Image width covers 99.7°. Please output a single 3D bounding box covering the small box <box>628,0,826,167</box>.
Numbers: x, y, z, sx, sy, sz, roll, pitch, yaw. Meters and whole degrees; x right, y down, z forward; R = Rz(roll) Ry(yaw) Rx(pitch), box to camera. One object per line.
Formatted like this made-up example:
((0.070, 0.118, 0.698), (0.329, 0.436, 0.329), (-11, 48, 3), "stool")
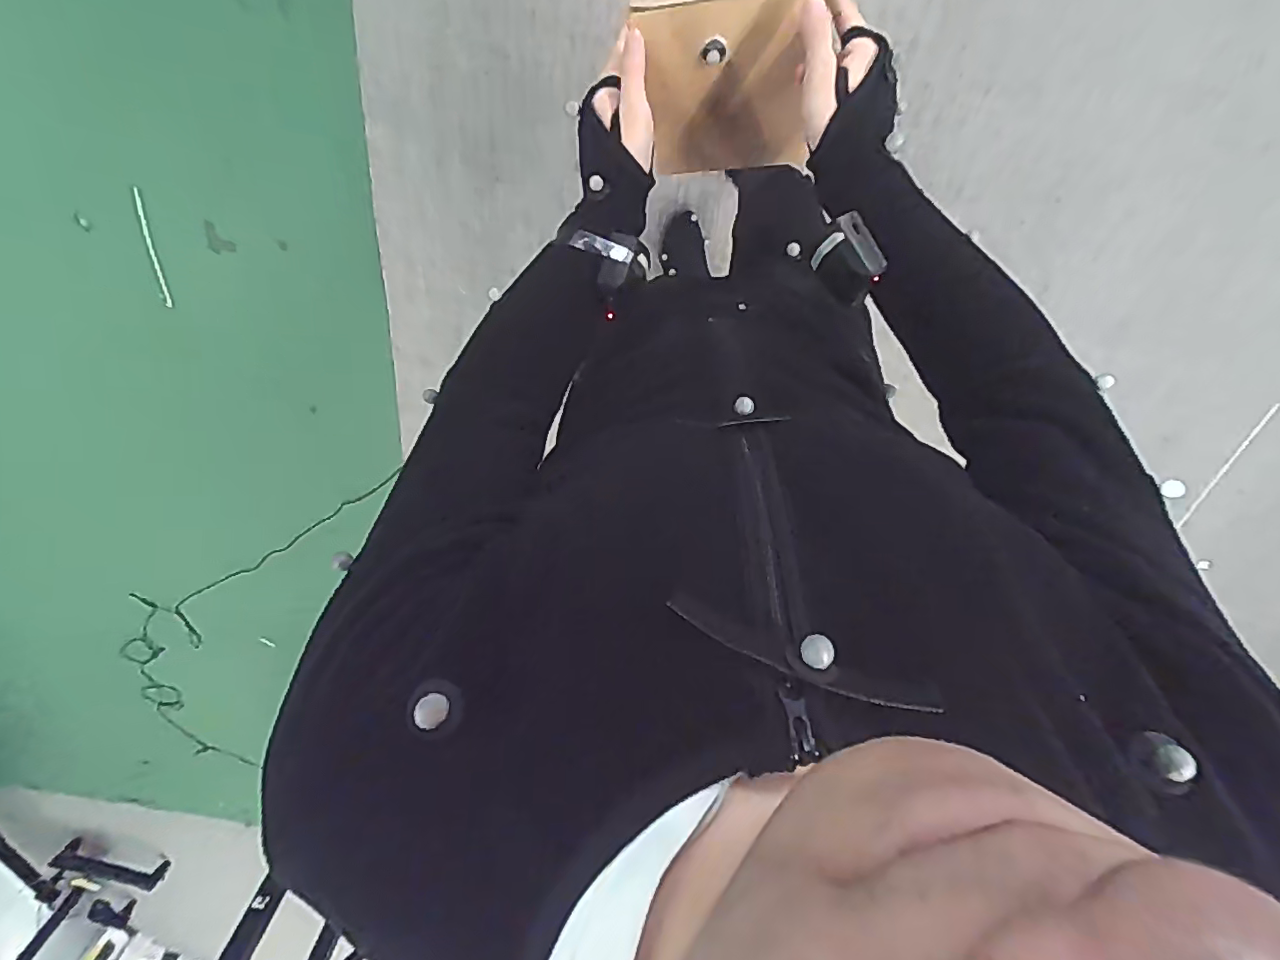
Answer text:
((0.097, -0.458, 0.565), (0.179, 0.168, 0.176), (2, 158, 12), "small box")
